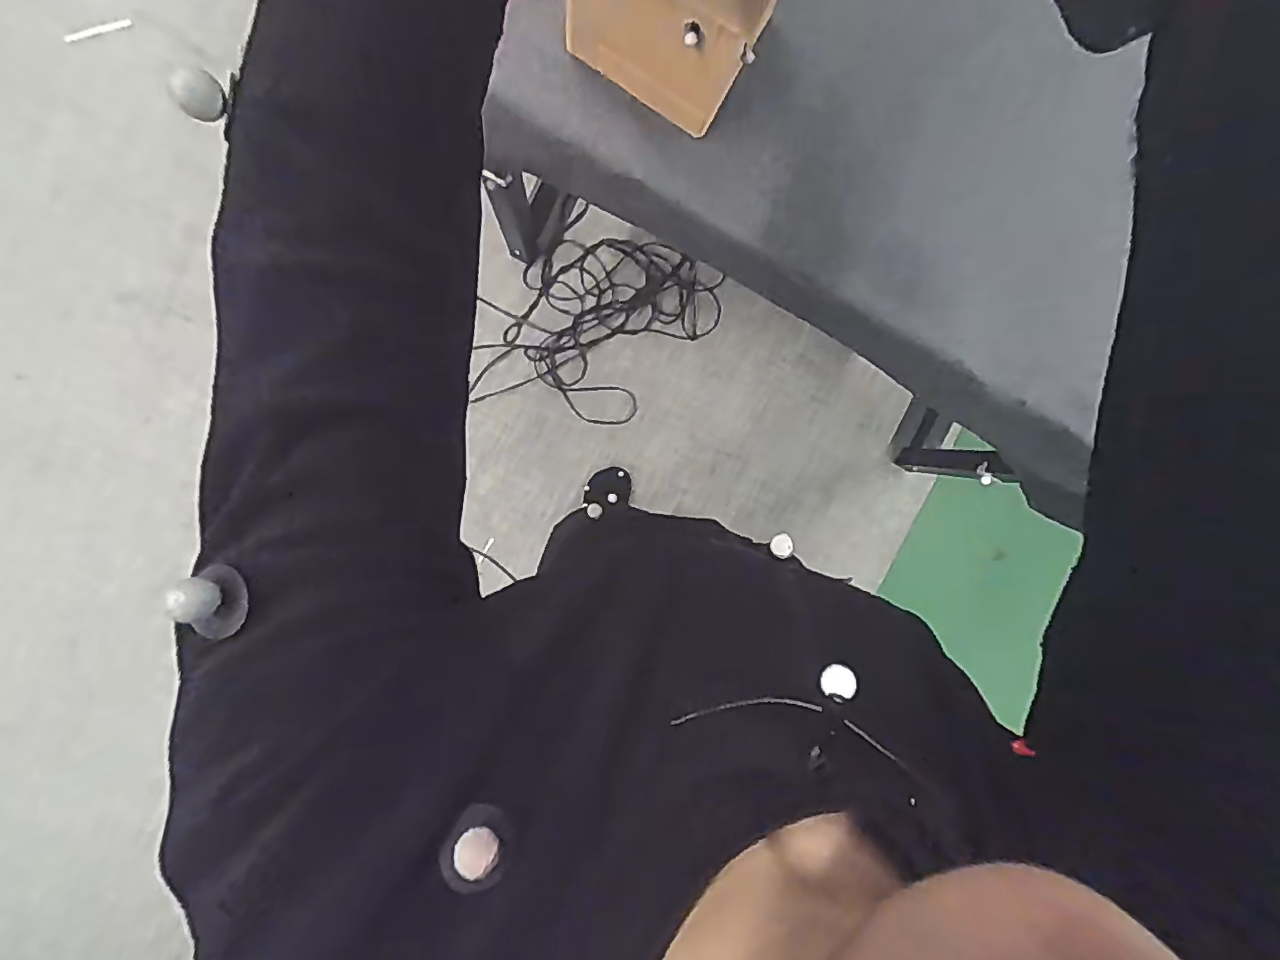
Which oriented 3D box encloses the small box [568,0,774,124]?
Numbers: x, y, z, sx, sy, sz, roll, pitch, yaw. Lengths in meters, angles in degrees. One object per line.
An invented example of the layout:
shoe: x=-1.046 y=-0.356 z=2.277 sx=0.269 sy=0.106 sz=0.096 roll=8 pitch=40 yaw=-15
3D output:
small box: x=0.040 y=-0.493 z=0.516 sx=0.179 sy=0.176 sz=0.168 roll=29 pitch=91 yaw=-9
